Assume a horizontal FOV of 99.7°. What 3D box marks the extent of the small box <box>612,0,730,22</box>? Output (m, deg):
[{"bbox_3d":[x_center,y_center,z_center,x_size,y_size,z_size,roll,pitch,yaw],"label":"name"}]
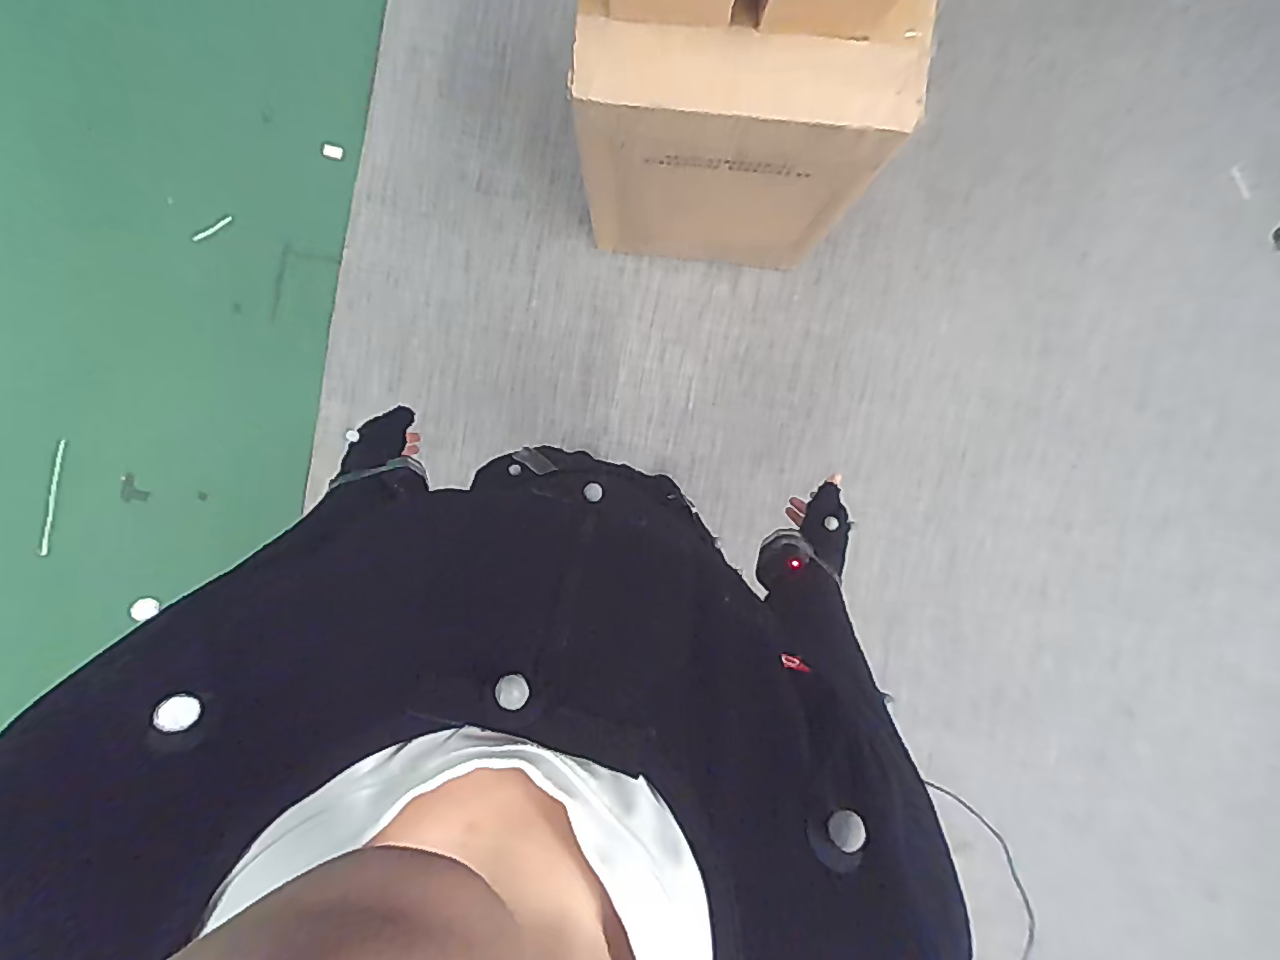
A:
[{"bbox_3d":[0.049,-0.747,0.704,0.179,0.176,0.168,4,97,-2],"label":"small box"}]
